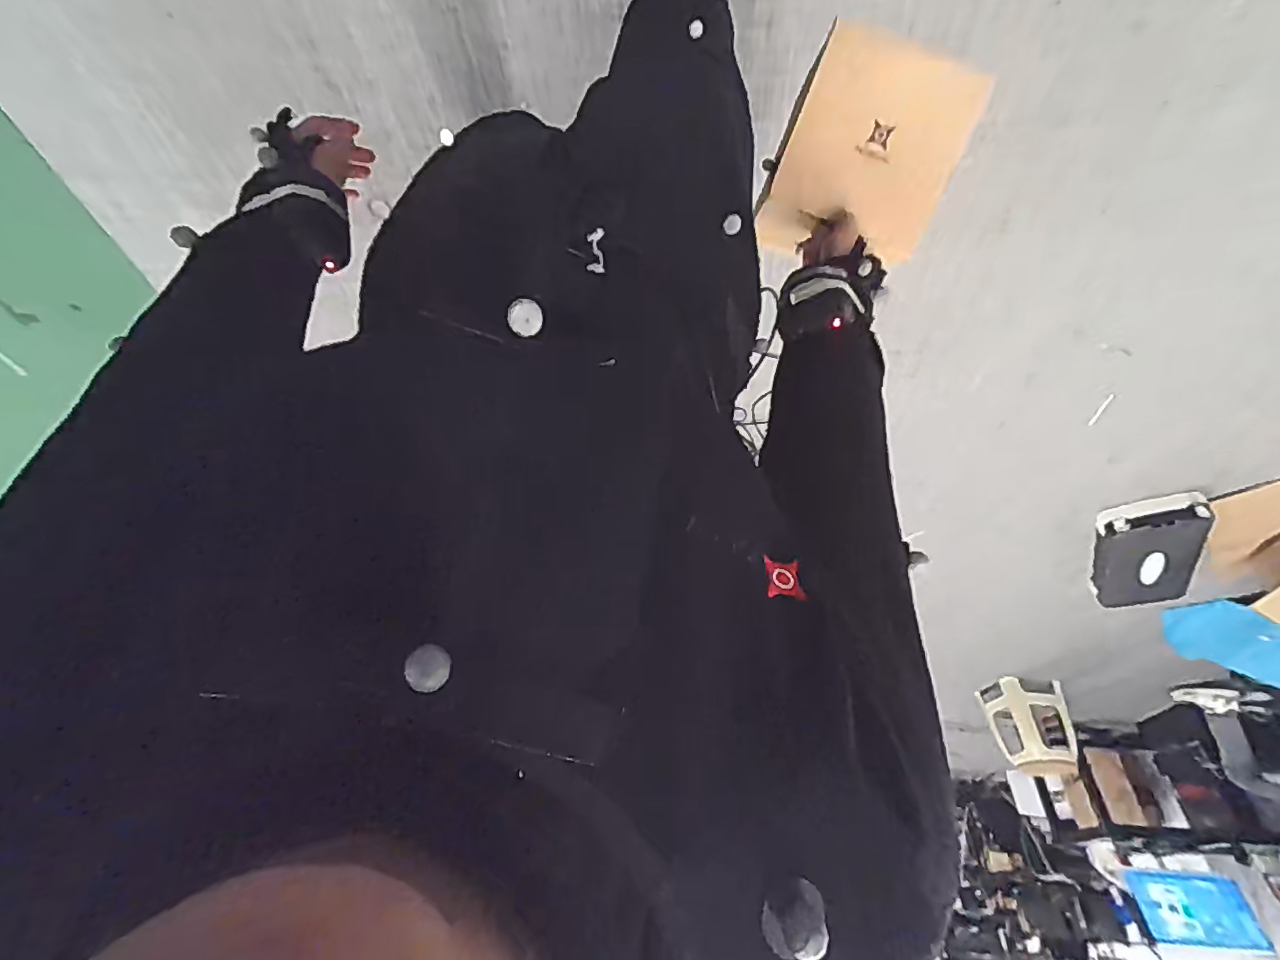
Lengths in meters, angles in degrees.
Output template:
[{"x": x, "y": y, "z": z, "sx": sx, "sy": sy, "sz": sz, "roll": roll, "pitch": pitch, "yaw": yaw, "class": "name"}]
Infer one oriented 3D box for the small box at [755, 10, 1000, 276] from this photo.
[{"x": 0.240, "y": -0.350, "z": 0.602, "sx": 0.168, "sy": 0.176, "sz": 0.179, "roll": 21, "pitch": 103, "yaw": 0, "class": "small box"}]
